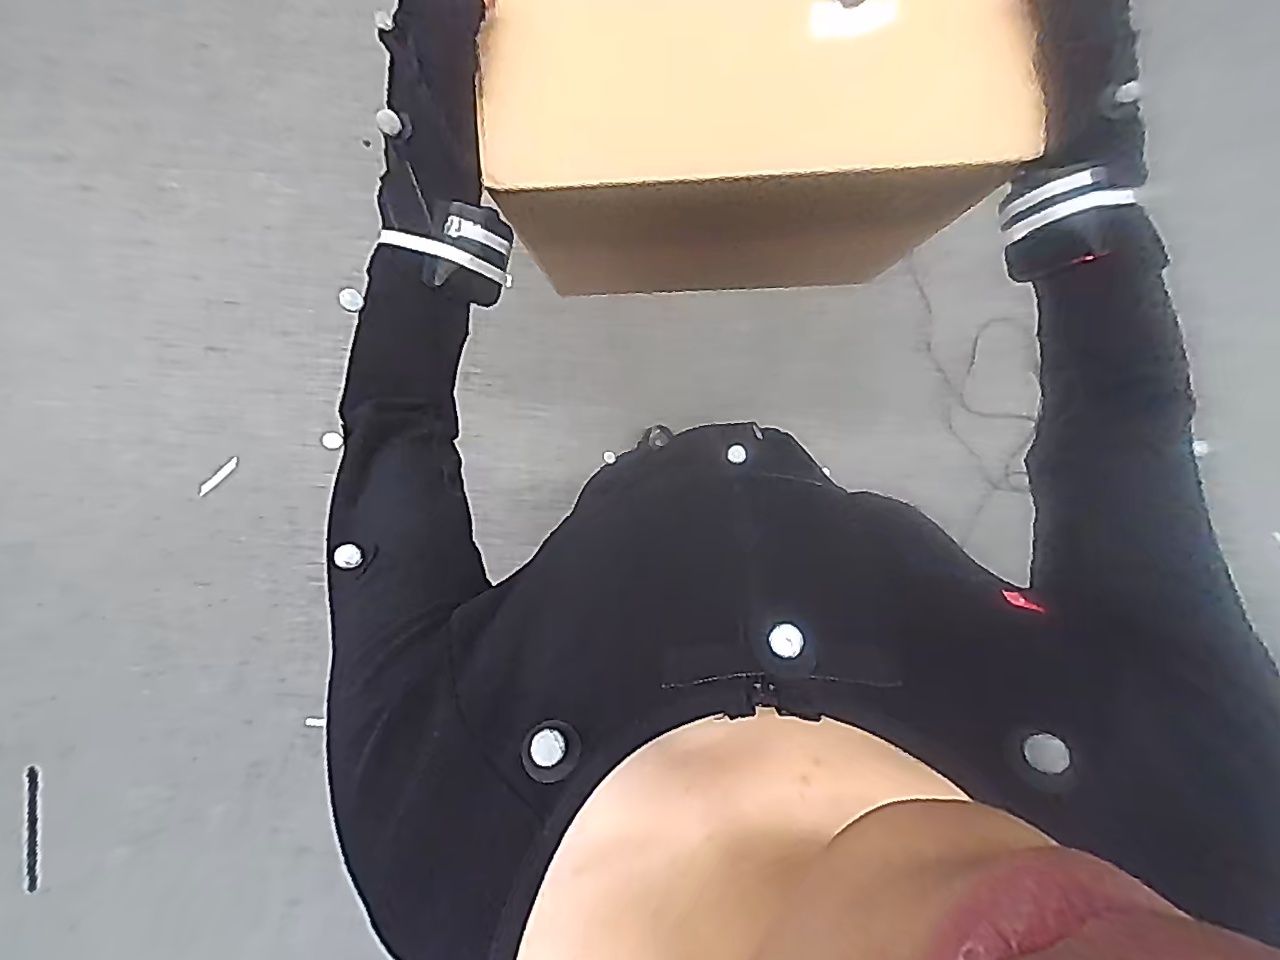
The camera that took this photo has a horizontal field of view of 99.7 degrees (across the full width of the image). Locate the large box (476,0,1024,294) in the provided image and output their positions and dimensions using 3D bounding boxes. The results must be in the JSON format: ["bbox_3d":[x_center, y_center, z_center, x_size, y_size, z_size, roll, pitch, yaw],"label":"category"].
[{"bbox_3d":[0.077,-0.393,0.540,0.408,0.320,0.320,-2,94,1],"label":"large box"}]
